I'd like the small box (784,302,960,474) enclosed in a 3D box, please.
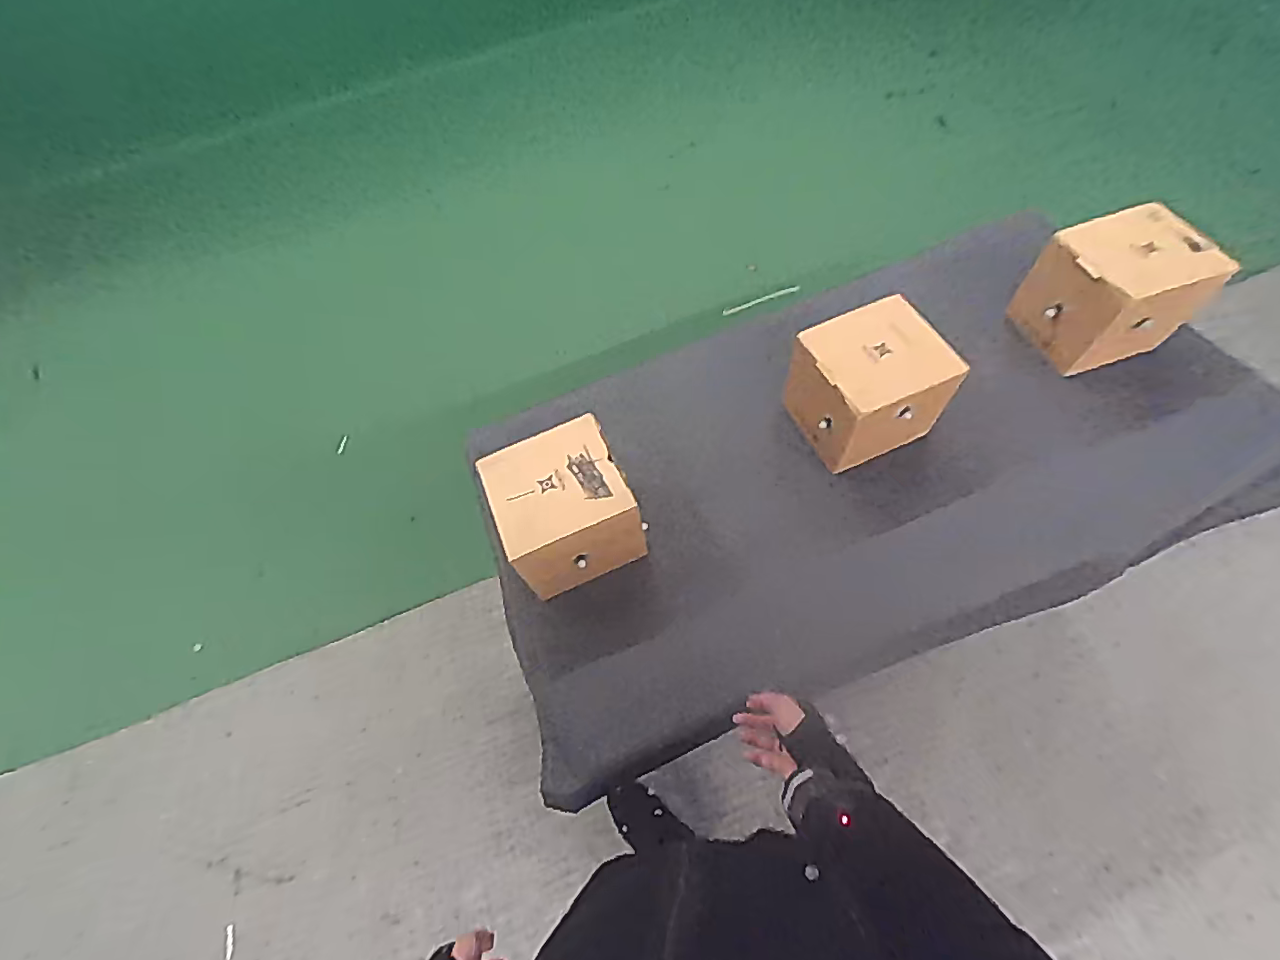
[{"bbox_3d":[0.341,-0.135,0.841,0.179,0.176,0.168,-23,62,-8],"label":"small box"}]

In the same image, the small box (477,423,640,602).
[{"bbox_3d":[-0.108,0.053,0.783,0.179,0.176,0.168,-24,61,-6],"label":"small box"}]

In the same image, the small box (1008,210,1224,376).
[{"bbox_3d":[0.745,-0.296,0.879,0.179,0.176,0.168,-18,61,-3],"label":"small box"}]
